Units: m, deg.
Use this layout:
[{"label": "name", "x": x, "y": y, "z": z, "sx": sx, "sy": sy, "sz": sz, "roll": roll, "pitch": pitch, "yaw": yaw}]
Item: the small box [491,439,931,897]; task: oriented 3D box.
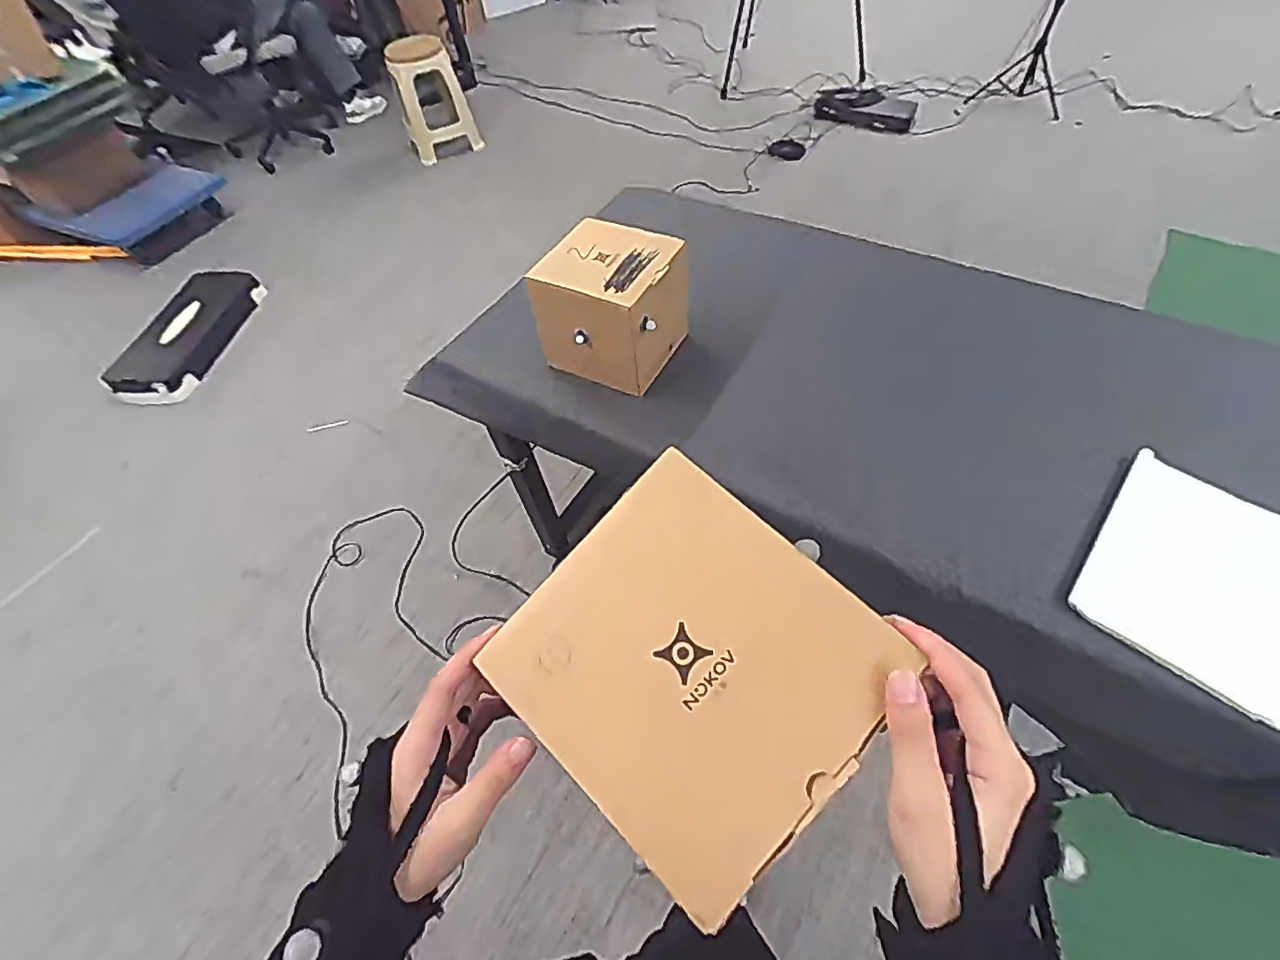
[{"label": "small box", "x": 0.041, "y": 0.109, "z": 0.361, "sx": 0.179, "sy": 0.176, "sz": 0.168, "roll": 41, "pitch": 83, "yaw": 17}]
